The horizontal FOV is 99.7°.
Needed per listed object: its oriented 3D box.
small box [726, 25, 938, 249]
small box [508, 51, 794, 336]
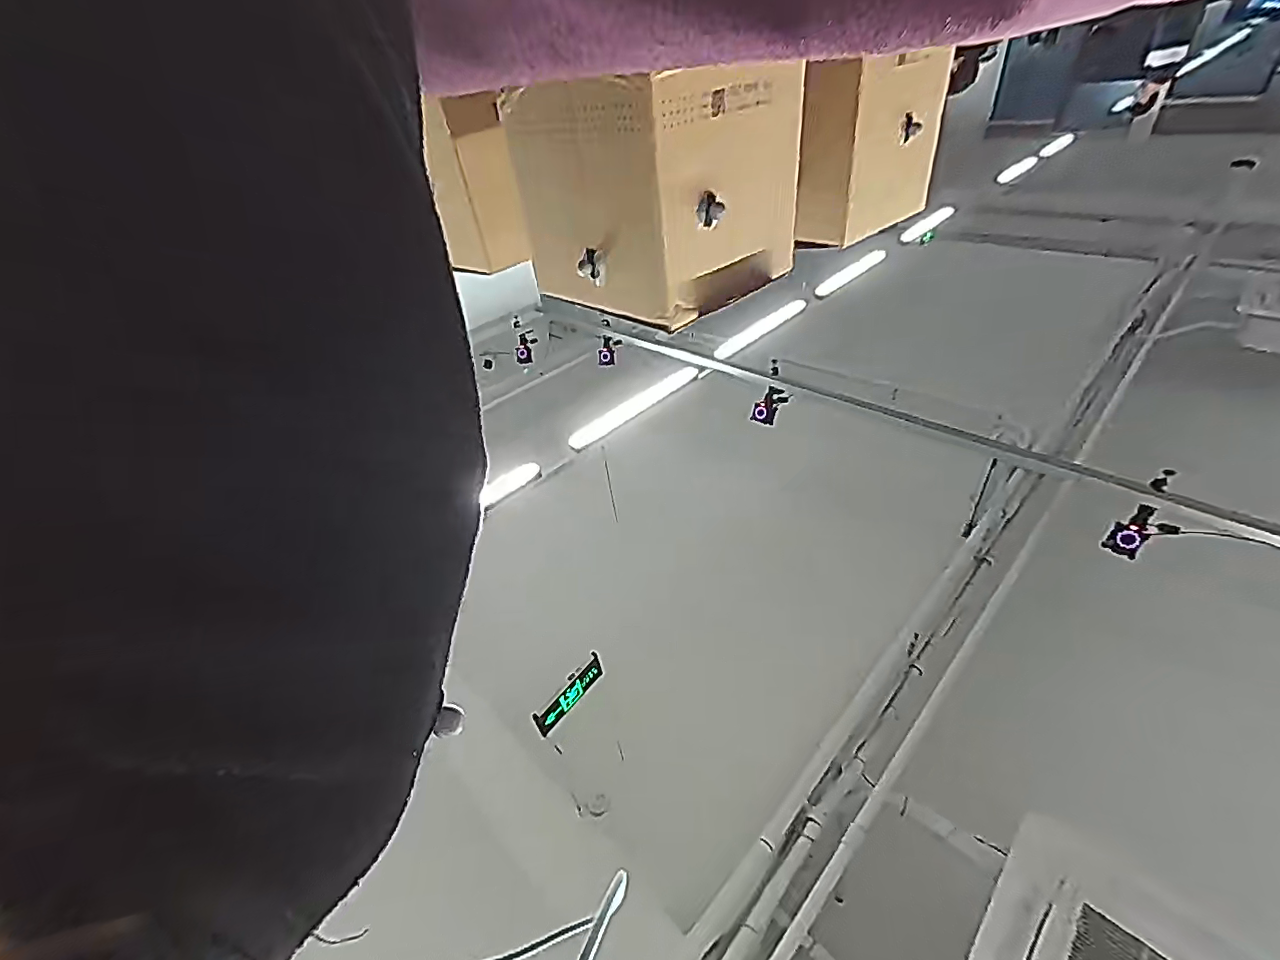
[{"bbox_3d":[0.190,-0.364,0.573,0.168,0.176,0.179,-34,-135,-30],"label":"small box"},{"bbox_3d":[0.013,-0.247,0.458,0.179,0.176,0.168,27,-130,37],"label":"small box"}]
